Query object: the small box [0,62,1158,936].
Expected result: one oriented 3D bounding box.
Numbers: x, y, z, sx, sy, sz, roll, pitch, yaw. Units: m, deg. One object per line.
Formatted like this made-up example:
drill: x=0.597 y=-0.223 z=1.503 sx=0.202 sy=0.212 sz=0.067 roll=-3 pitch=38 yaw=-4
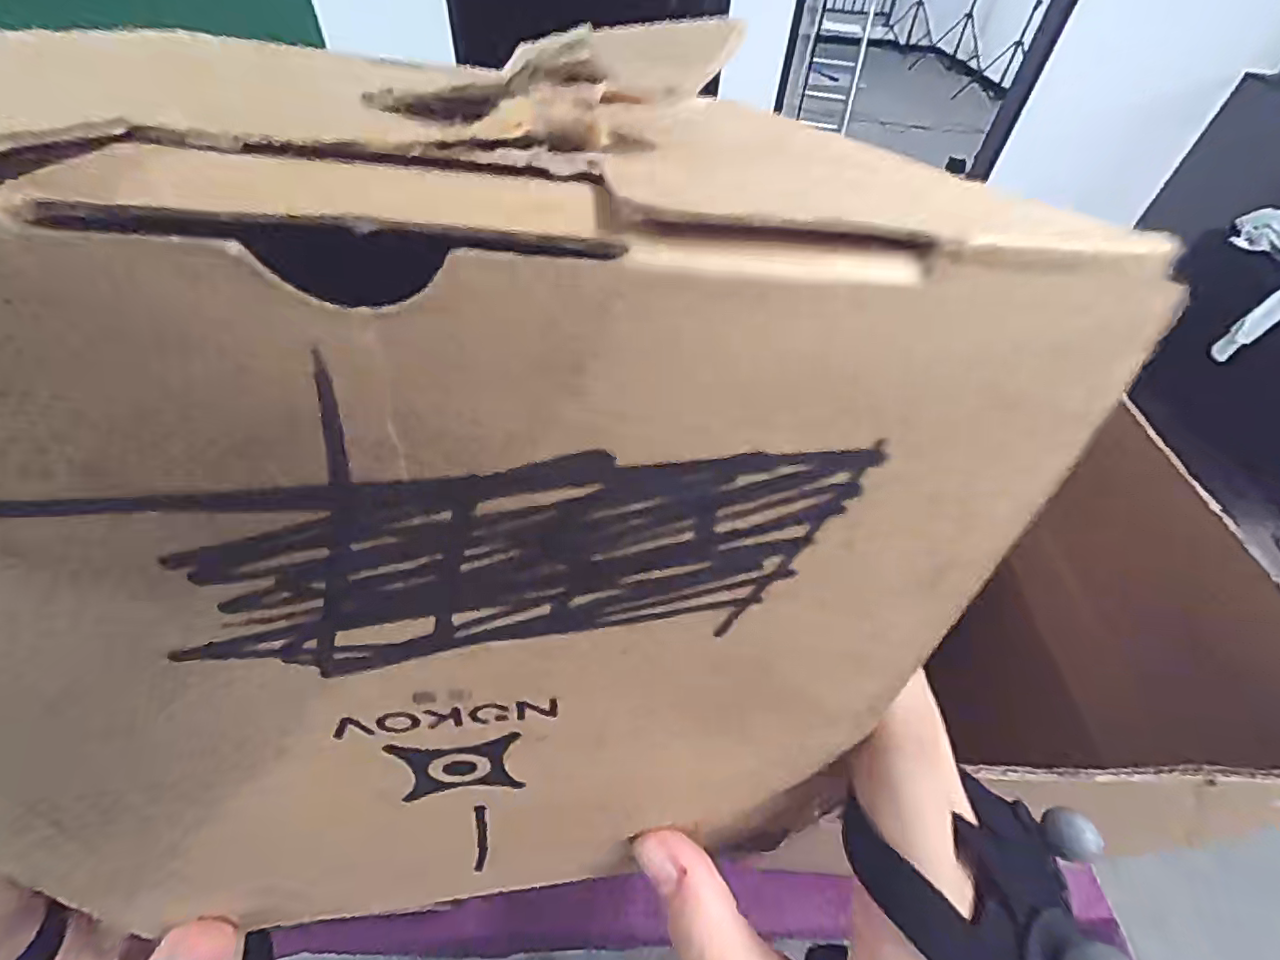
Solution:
small box: x=-0.040 y=-0.004 z=0.160 sx=0.168 sy=0.179 sz=0.176 roll=-1 pitch=41 yaw=-10
